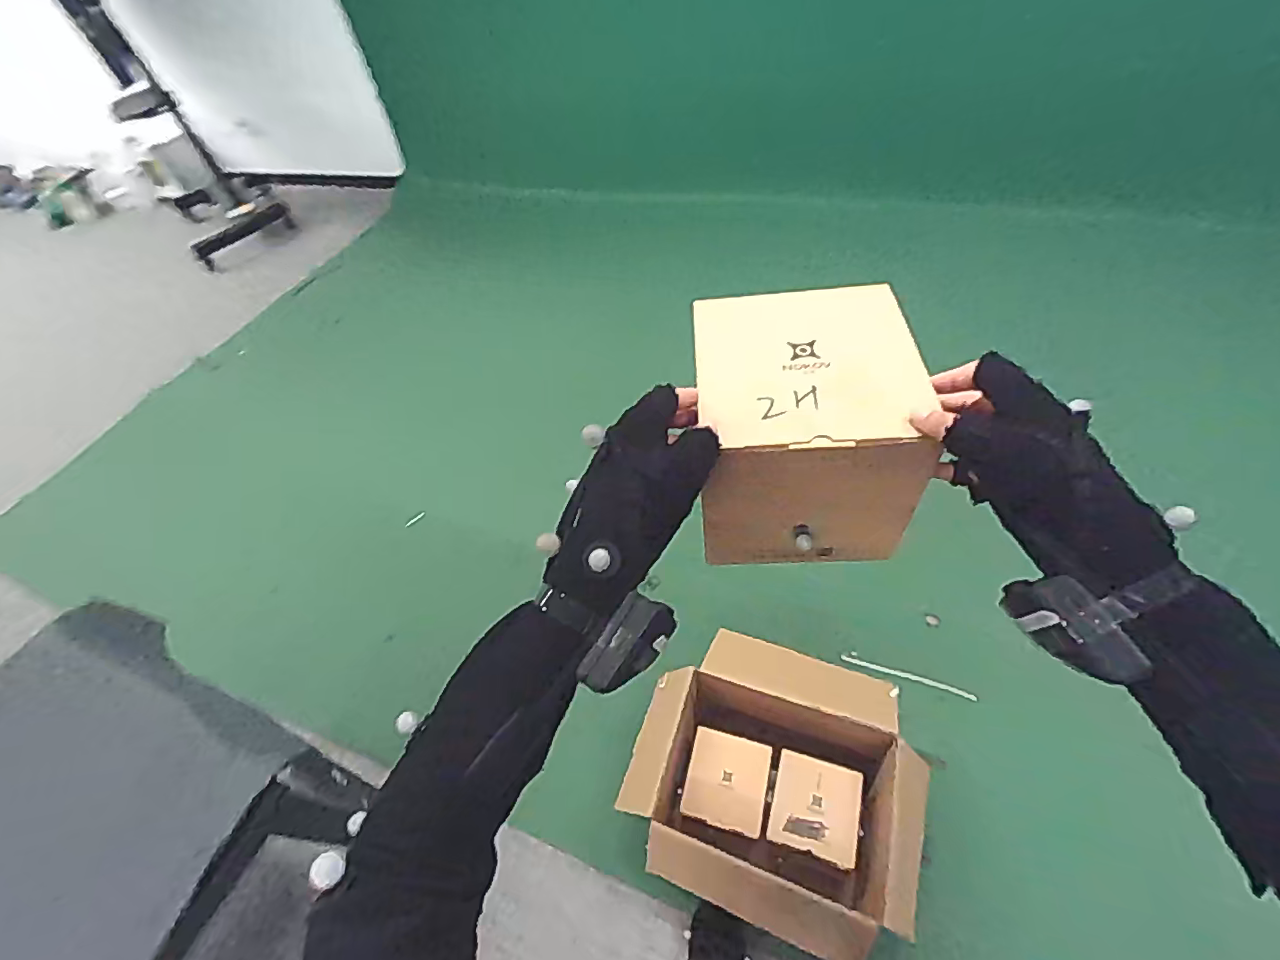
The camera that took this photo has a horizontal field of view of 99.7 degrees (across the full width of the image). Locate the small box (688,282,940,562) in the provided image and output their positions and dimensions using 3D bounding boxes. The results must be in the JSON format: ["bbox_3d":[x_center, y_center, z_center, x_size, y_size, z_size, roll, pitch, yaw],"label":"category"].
[{"bbox_3d":[0.130,-0.046,0.478,0.168,0.176,0.179,-4,52,7],"label":"small box"}]
